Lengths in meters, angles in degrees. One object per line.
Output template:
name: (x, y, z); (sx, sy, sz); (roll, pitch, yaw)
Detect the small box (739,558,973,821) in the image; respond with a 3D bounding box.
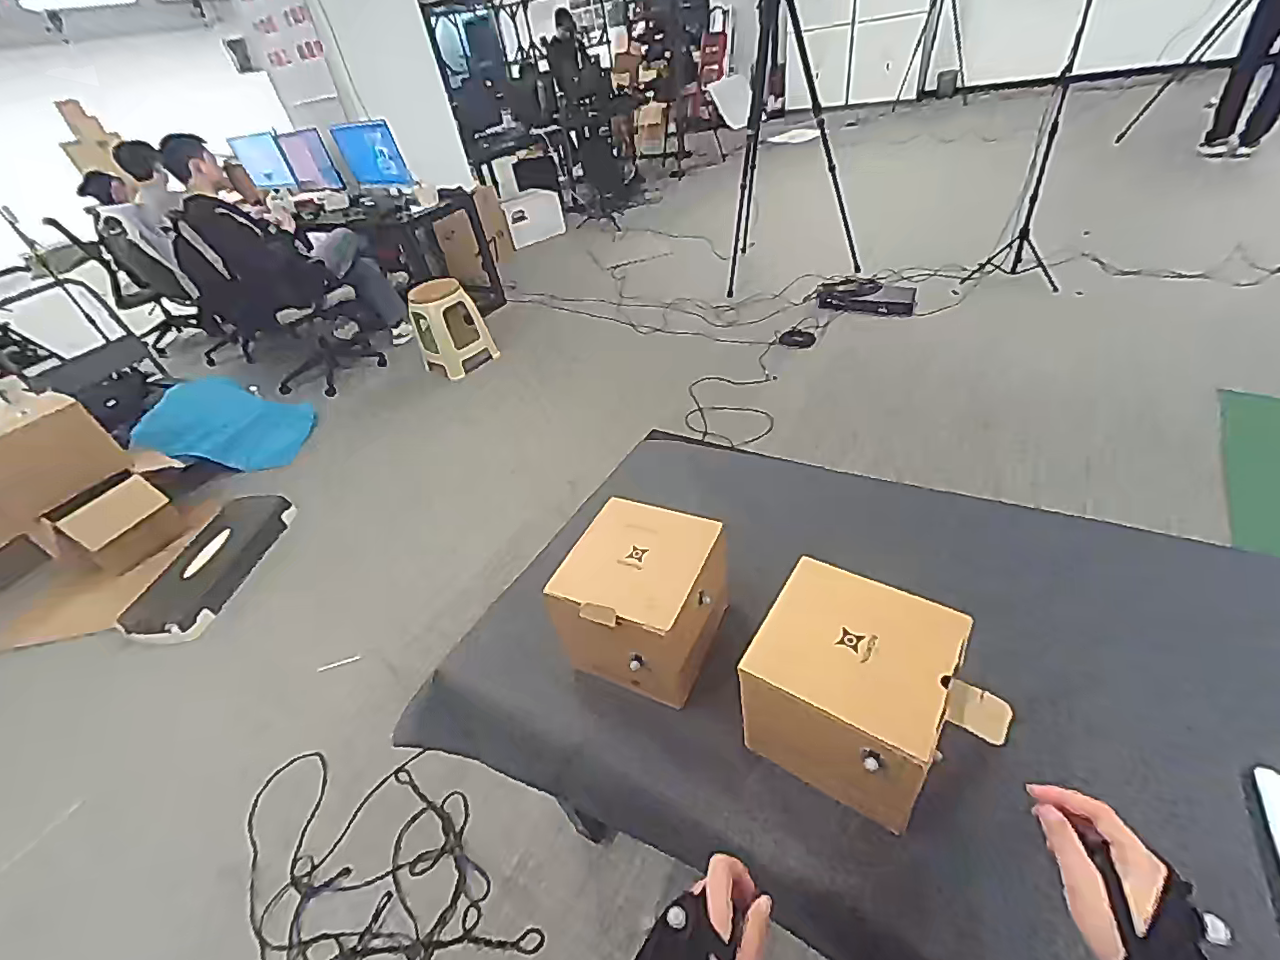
small box: (0.222, 0.219, 0.576); (0.179, 0.176, 0.168); (18, 47, 31)

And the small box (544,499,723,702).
small box: (0.006, 0.155, 0.706); (0.168, 0.176, 0.179); (12, 43, 25)
